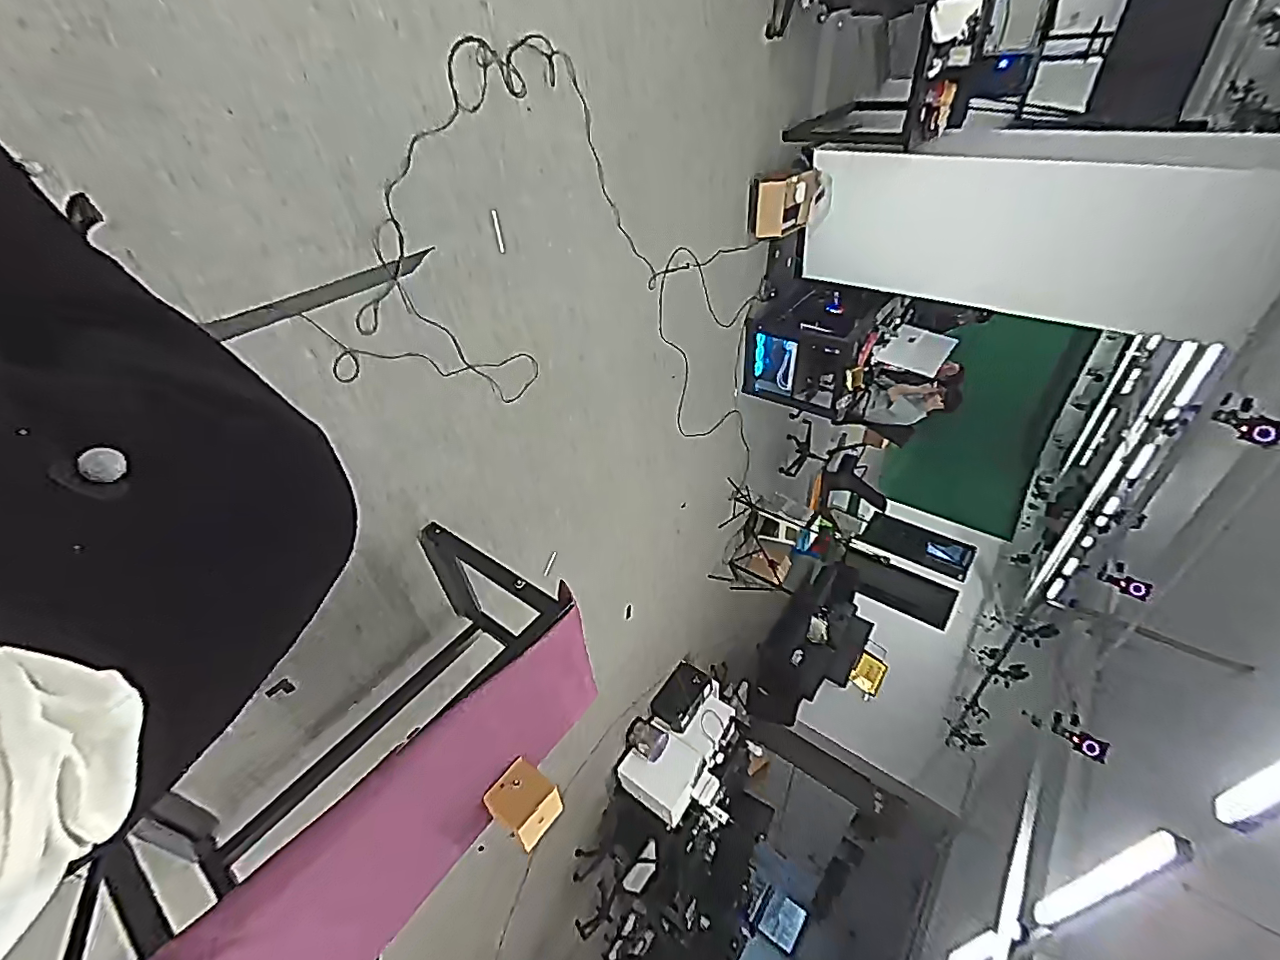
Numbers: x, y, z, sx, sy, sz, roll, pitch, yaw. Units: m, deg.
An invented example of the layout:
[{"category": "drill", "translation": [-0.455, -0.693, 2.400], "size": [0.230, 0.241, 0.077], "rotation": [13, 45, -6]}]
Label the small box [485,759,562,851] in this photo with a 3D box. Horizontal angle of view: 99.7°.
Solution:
[{"category": "small box", "translation": [-0.380, 1.056, 1.769], "size": [0.168, 0.176, 0.179], "rotation": [-40, 141, -37]}]
